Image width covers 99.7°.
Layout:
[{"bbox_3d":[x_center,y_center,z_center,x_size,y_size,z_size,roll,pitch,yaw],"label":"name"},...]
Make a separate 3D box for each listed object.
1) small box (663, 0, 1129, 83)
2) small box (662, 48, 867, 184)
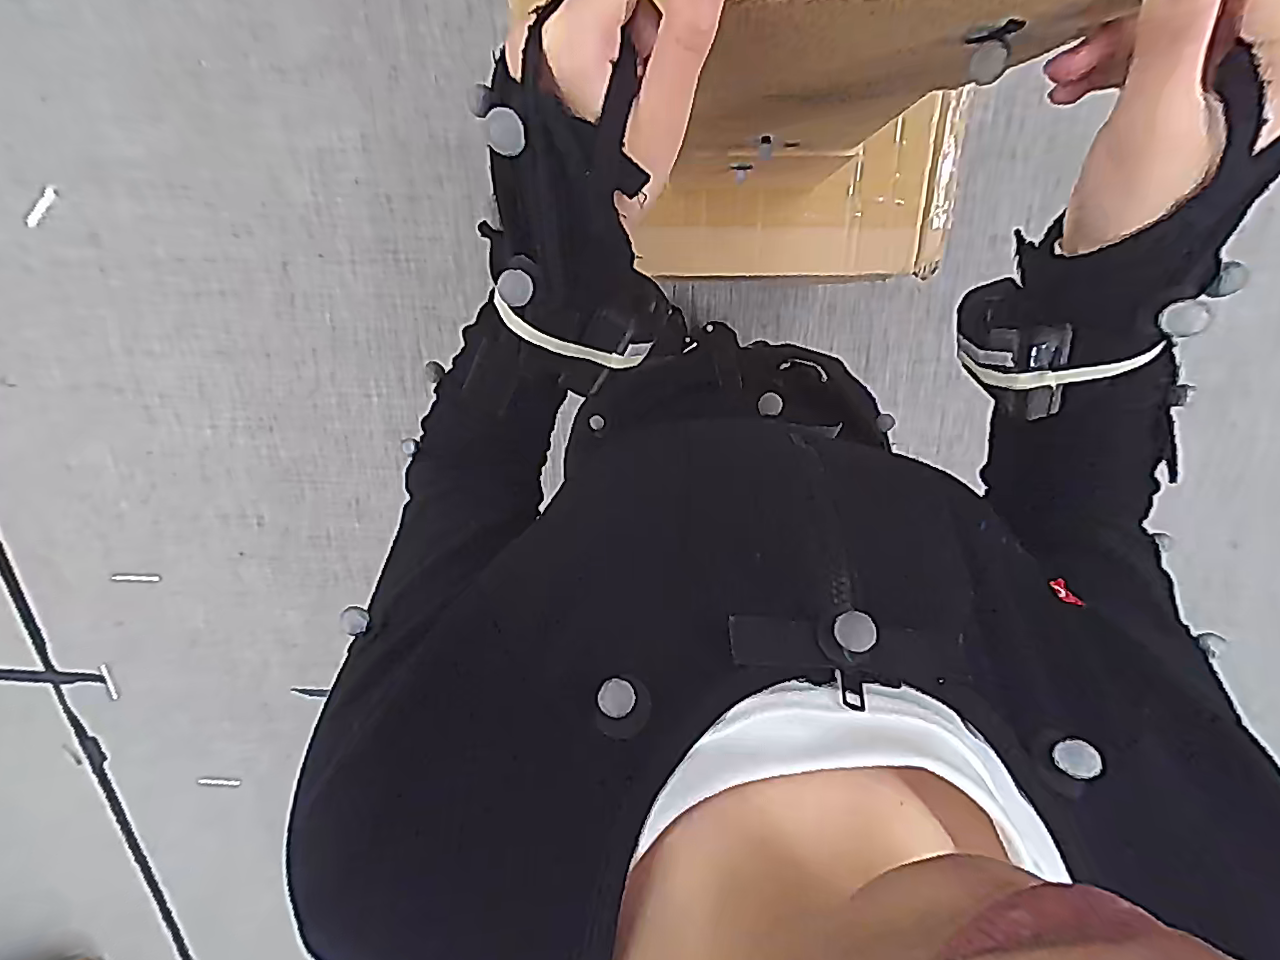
[{"bbox_3d":[0.099,-0.275,0.213,0.179,0.176,0.168,1,116,2],"label":"small box"},{"bbox_3d":[0.114,-0.398,0.533,0.179,0.176,0.168,1,109,3],"label":"small box"}]
